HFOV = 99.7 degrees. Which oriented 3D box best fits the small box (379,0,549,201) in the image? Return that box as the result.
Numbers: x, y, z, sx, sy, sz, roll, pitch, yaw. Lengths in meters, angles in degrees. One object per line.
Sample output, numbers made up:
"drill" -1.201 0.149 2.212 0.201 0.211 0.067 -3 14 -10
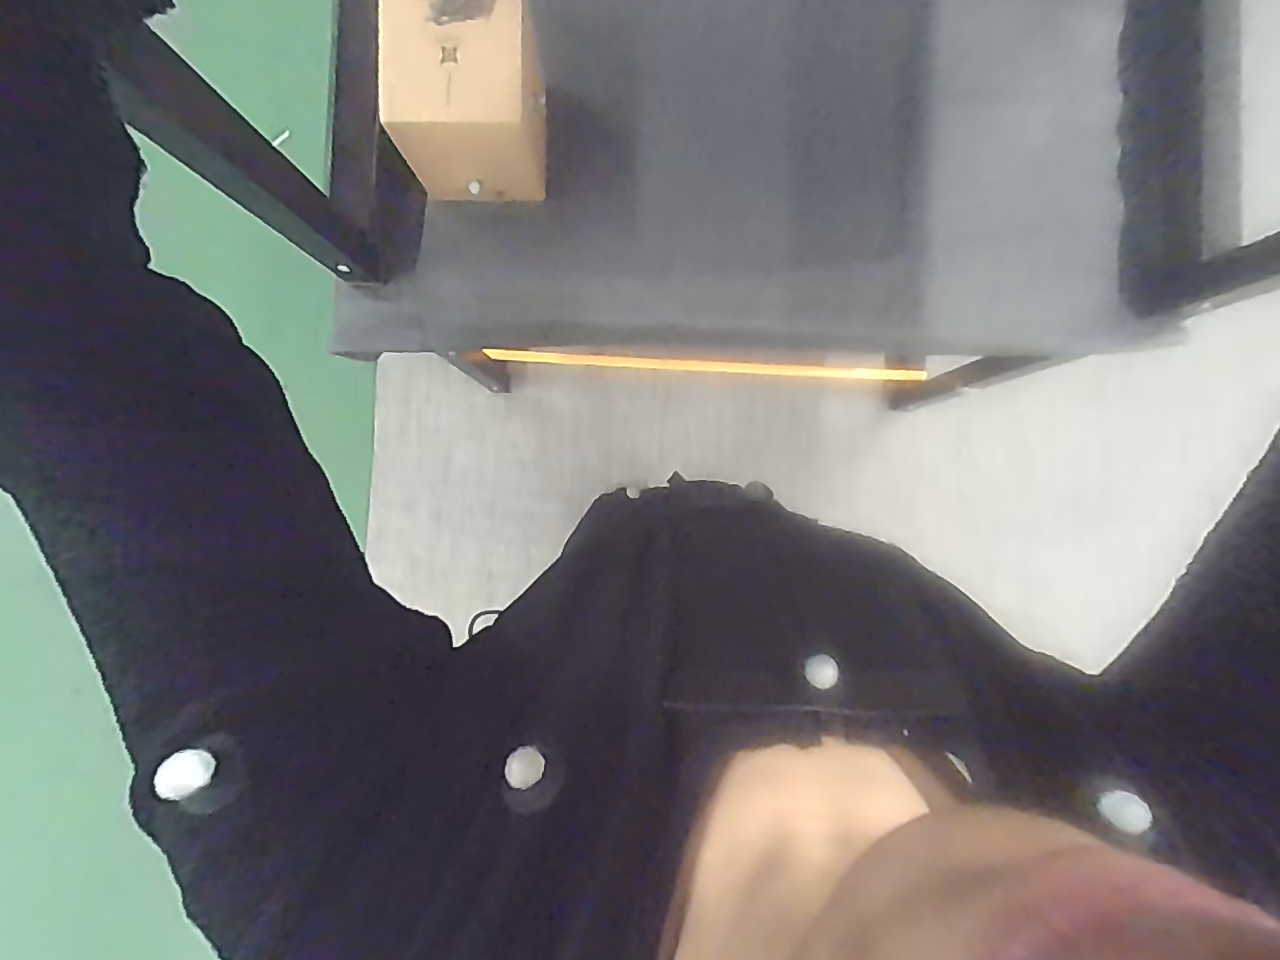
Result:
"small box" -0.214 -0.492 0.697 0.168 0.176 0.179 0 89 0
